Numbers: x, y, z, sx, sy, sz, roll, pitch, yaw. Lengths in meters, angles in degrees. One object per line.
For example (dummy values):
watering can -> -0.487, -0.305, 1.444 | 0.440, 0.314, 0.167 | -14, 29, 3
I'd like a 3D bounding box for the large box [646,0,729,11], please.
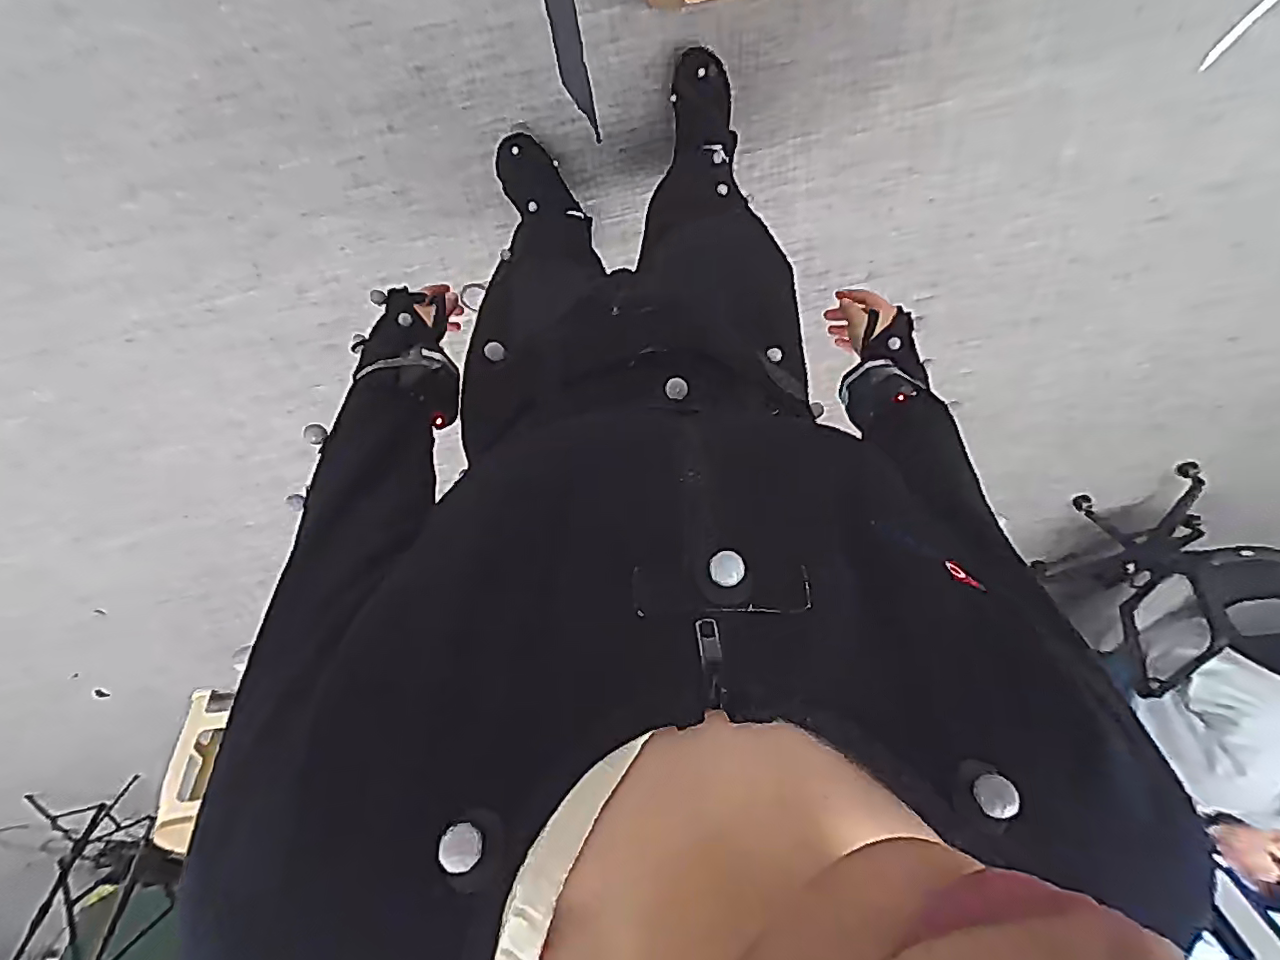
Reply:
large box -> 0.194, -0.872, 0.716 | 0.408, 0.320, 0.320 | -14, 132, 0
